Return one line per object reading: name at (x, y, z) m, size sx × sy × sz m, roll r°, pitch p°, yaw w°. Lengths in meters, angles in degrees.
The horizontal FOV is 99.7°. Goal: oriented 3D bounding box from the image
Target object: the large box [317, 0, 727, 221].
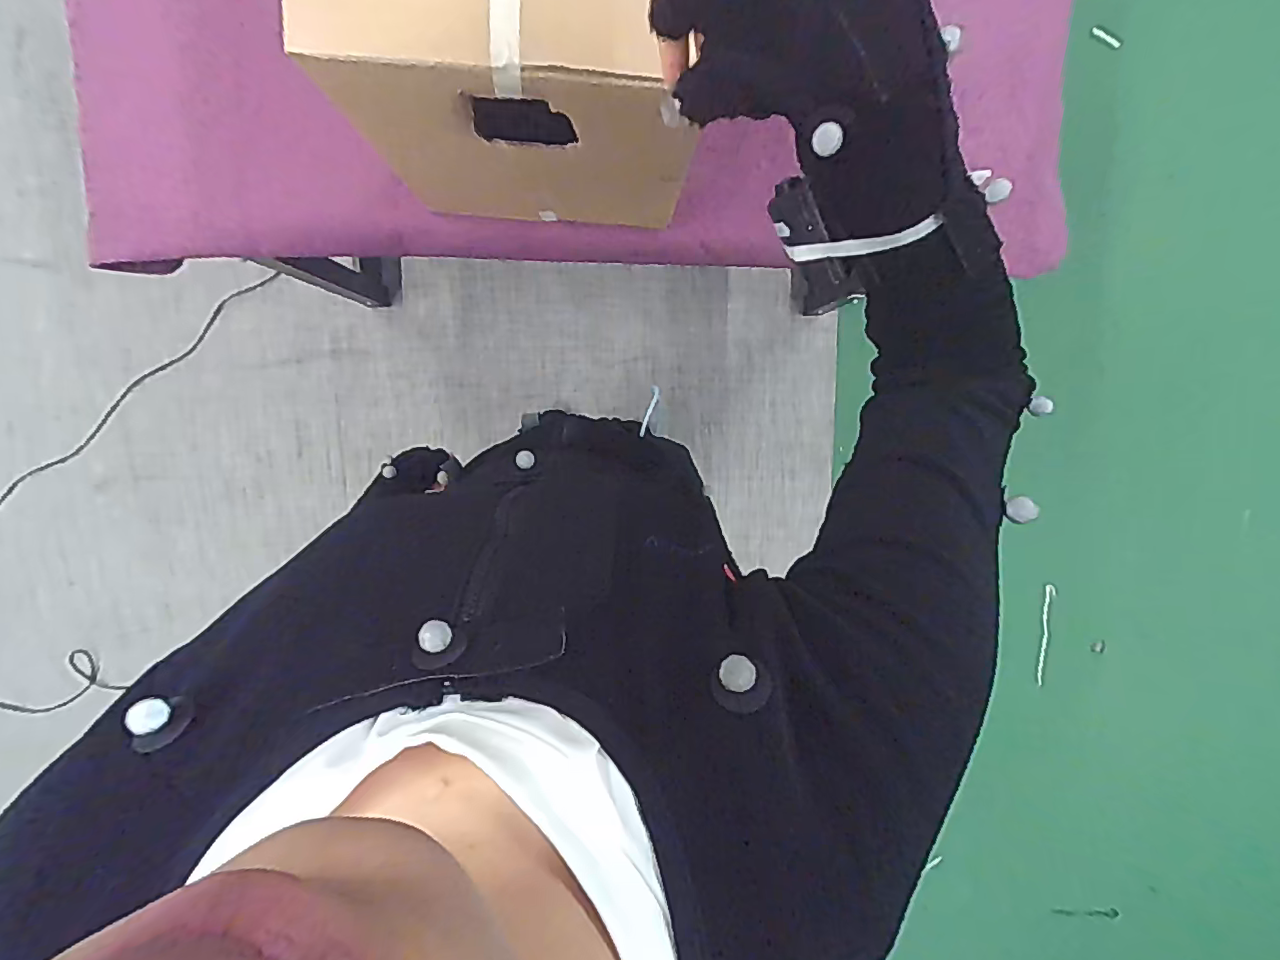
large box at (-0.091, -0.523, 0.532) m, size 0.320 × 0.320 × 0.408 m, roll 3°, pitch 98°, yaw -4°
